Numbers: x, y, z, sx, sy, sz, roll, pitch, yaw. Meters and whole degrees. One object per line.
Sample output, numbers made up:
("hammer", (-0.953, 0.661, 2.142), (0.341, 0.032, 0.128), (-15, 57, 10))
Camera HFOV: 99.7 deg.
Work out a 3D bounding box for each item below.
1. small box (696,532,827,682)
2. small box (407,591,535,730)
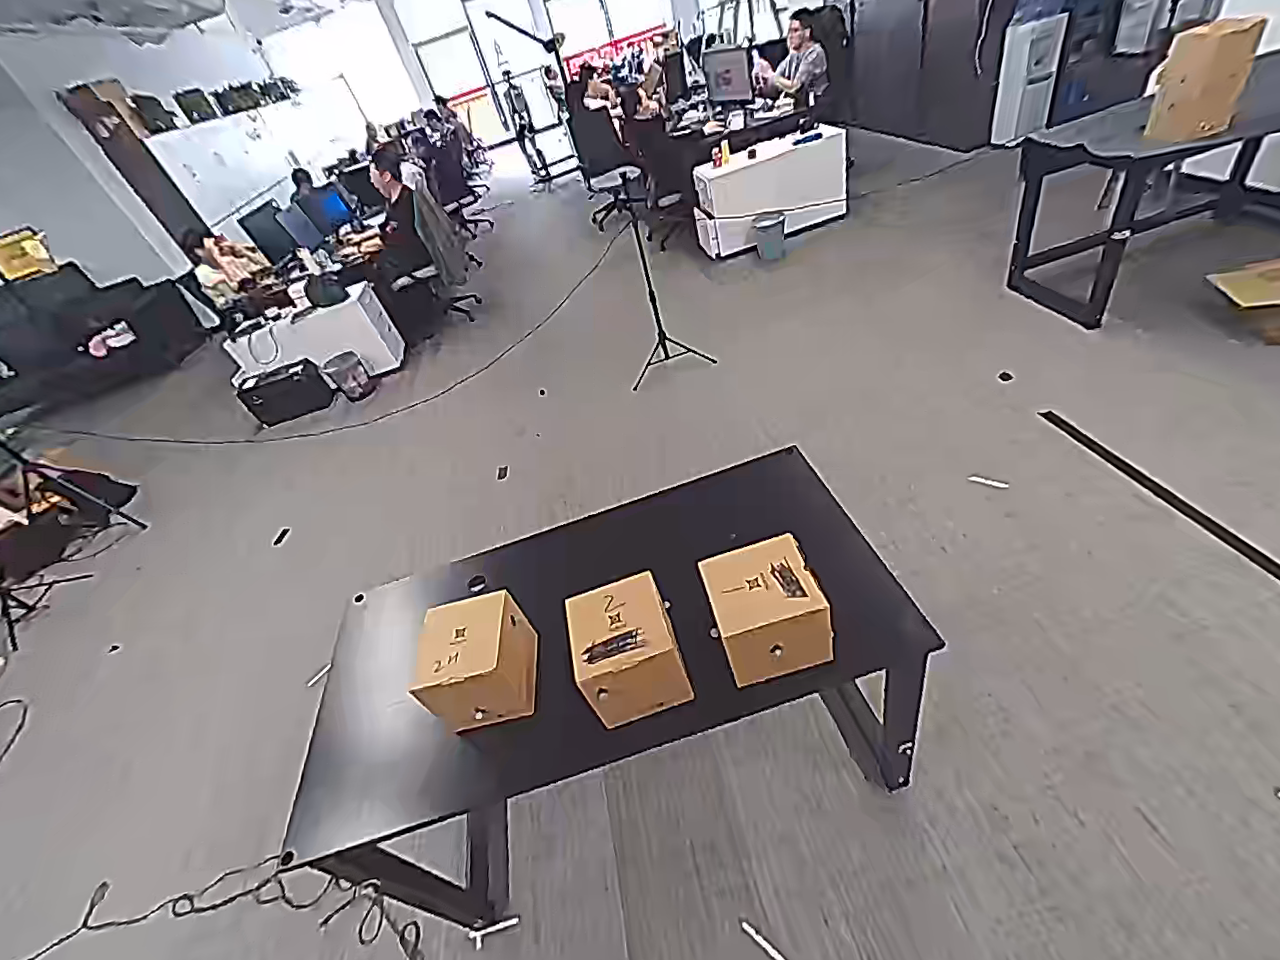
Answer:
("small box", (0.215, 0.225, 0.953), (0.179, 0.176, 0.168), (-19, 40, 3))
("small box", (-0.310, 0.345, 1.032), (0.168, 0.176, 0.179), (-16, 41, 5))
